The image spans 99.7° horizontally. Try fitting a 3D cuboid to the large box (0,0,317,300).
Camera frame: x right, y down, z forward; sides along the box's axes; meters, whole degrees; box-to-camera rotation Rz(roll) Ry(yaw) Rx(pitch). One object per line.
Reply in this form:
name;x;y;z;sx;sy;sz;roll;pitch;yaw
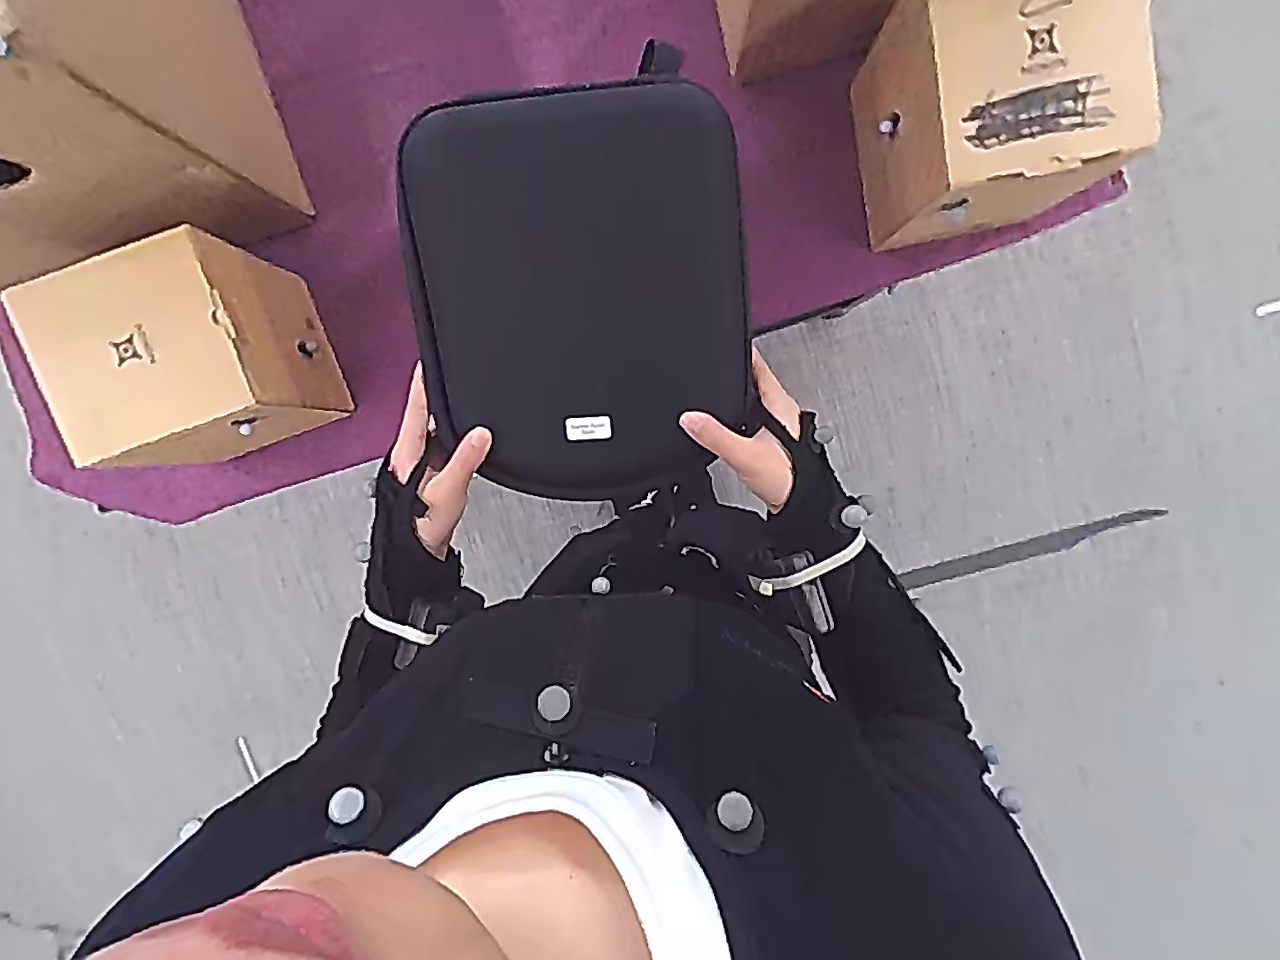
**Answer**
large box;-0.575;-0.422;0.463;0.320;0.320;0.408;-18;98;3
